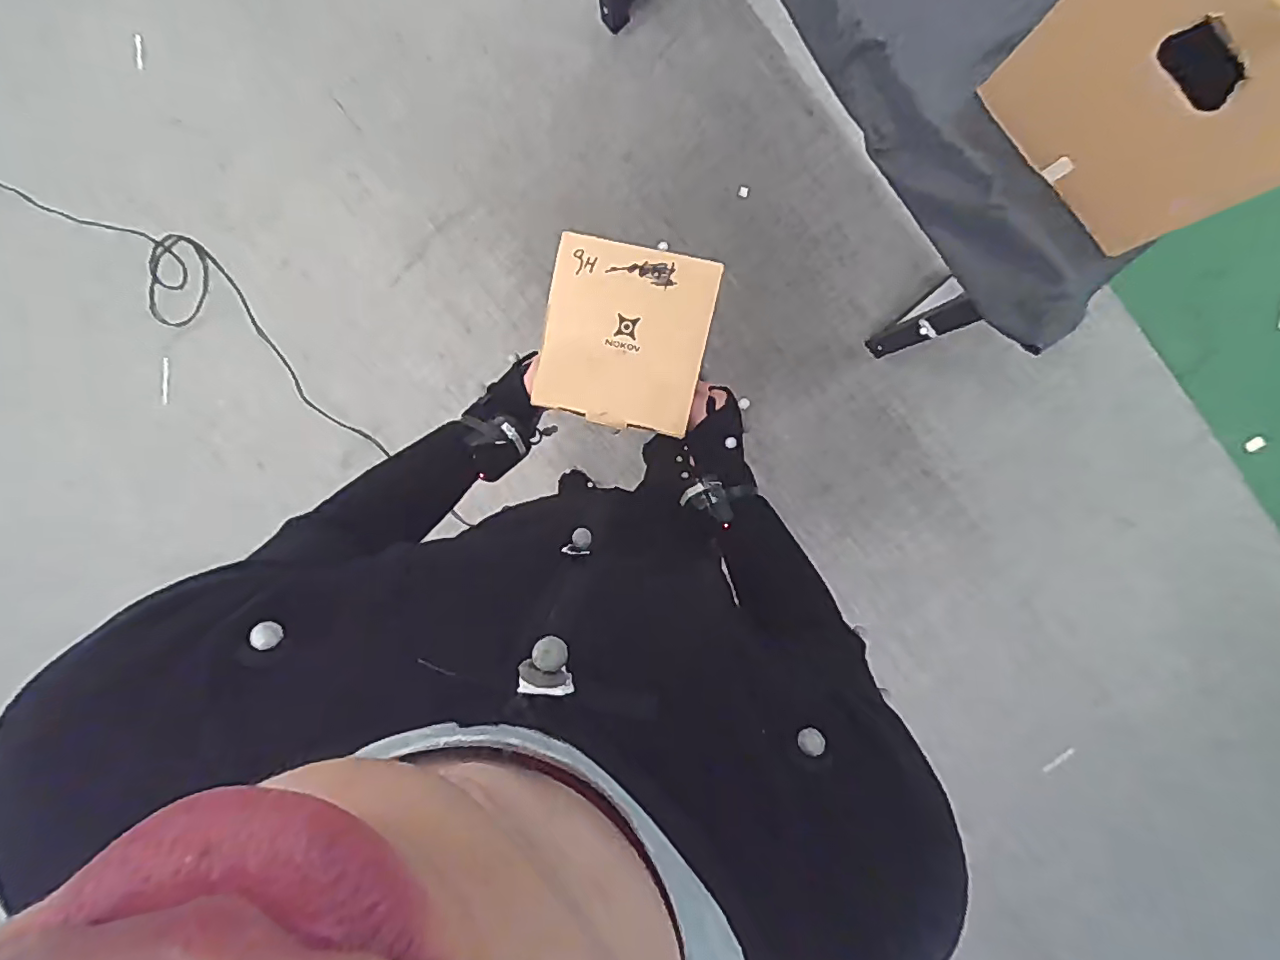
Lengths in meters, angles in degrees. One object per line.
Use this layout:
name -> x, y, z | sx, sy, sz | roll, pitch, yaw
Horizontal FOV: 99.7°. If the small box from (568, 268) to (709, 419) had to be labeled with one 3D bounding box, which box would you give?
small box -> 0.003, -0.187, 0.788 | 0.168, 0.176, 0.179 | 9, 96, 3
